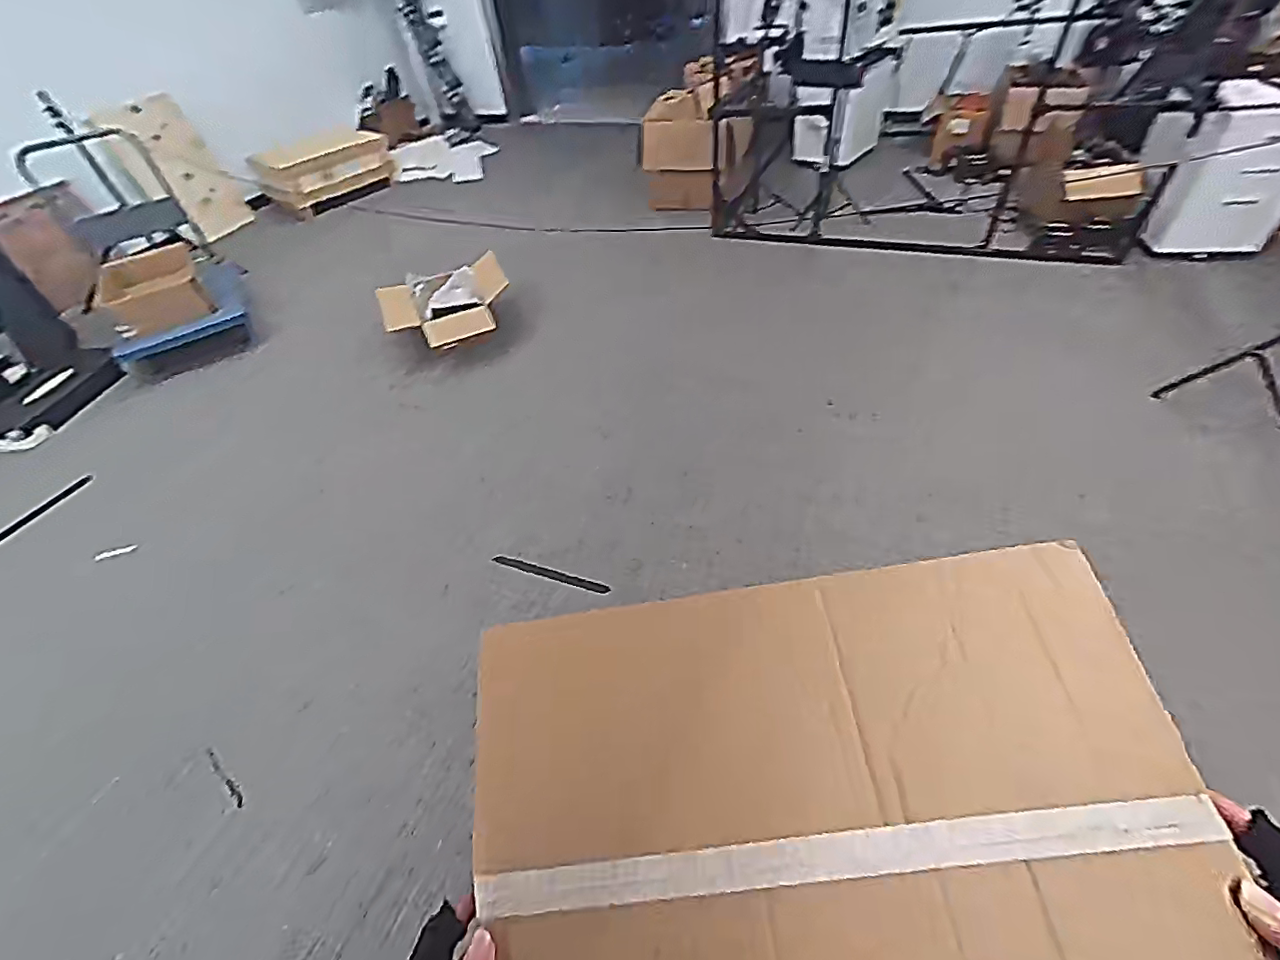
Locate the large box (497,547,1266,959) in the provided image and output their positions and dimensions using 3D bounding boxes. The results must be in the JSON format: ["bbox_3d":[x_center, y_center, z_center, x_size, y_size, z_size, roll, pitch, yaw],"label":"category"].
[{"bbox_3d":[0.130,0.281,0.446,0.408,0.320,0.320,-10,64,5],"label":"large box"}]
